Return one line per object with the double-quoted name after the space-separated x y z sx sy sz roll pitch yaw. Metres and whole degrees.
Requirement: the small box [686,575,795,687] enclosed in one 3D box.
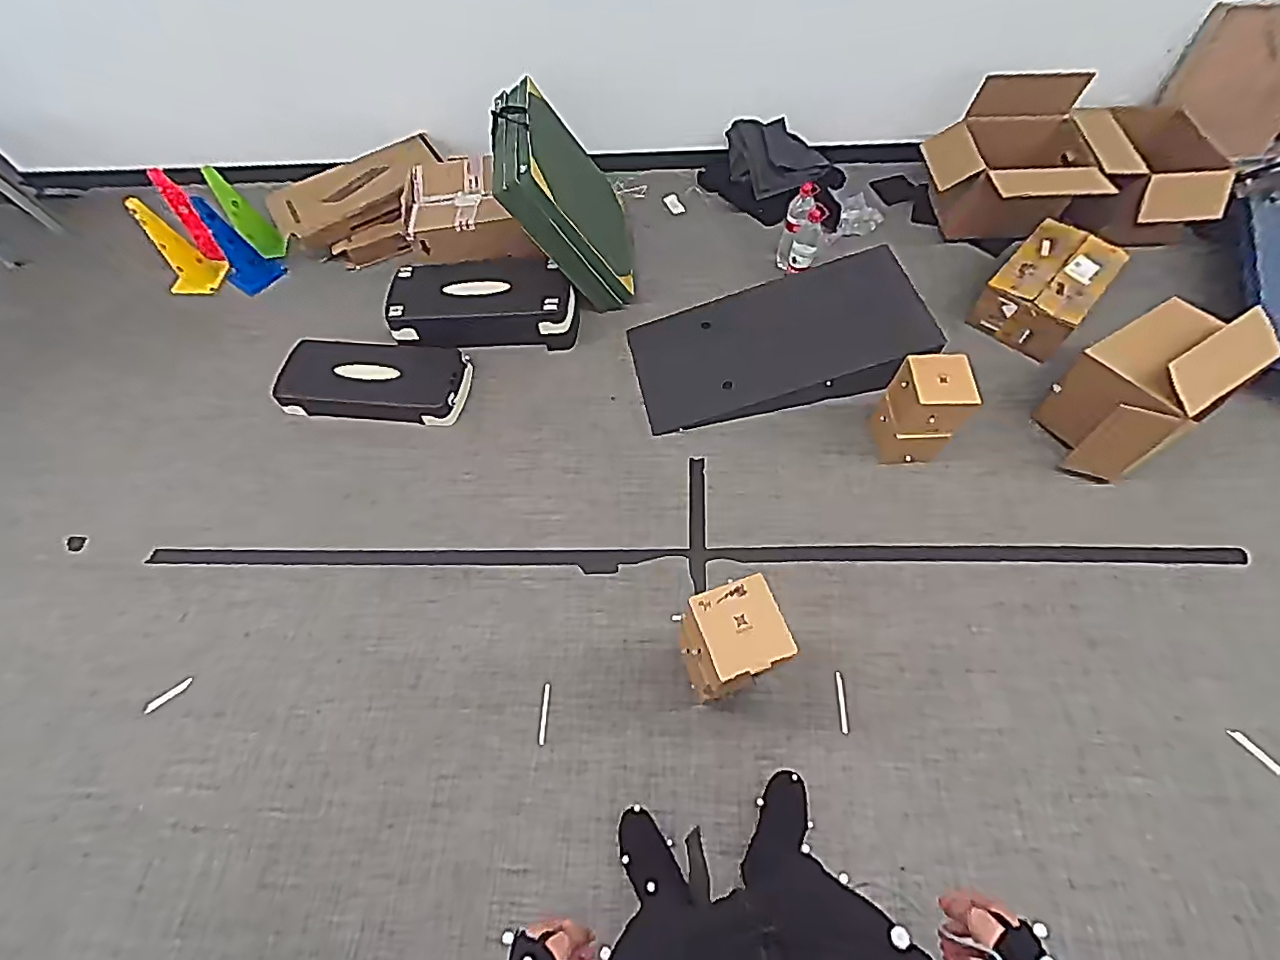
0.203 0.327 1.149 0.168 0.176 0.179 -18 64 -7 "small box"
